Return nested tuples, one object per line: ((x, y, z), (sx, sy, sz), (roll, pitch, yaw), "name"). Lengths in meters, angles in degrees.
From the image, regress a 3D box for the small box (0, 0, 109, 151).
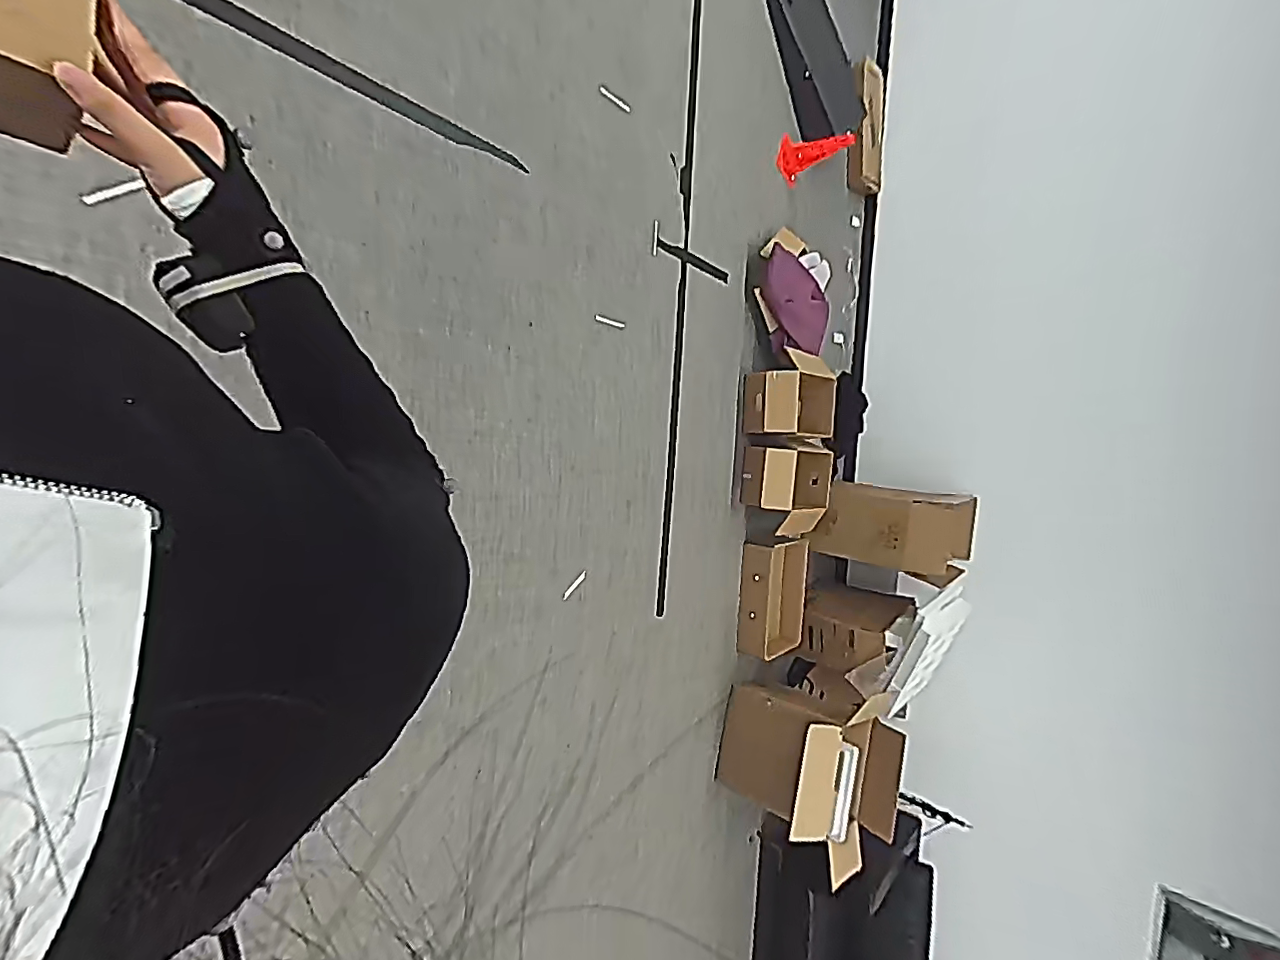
((-0.445, -0.341, 0.326), (0.168, 0.176, 0.179), (2, 96, -50), "small box")
